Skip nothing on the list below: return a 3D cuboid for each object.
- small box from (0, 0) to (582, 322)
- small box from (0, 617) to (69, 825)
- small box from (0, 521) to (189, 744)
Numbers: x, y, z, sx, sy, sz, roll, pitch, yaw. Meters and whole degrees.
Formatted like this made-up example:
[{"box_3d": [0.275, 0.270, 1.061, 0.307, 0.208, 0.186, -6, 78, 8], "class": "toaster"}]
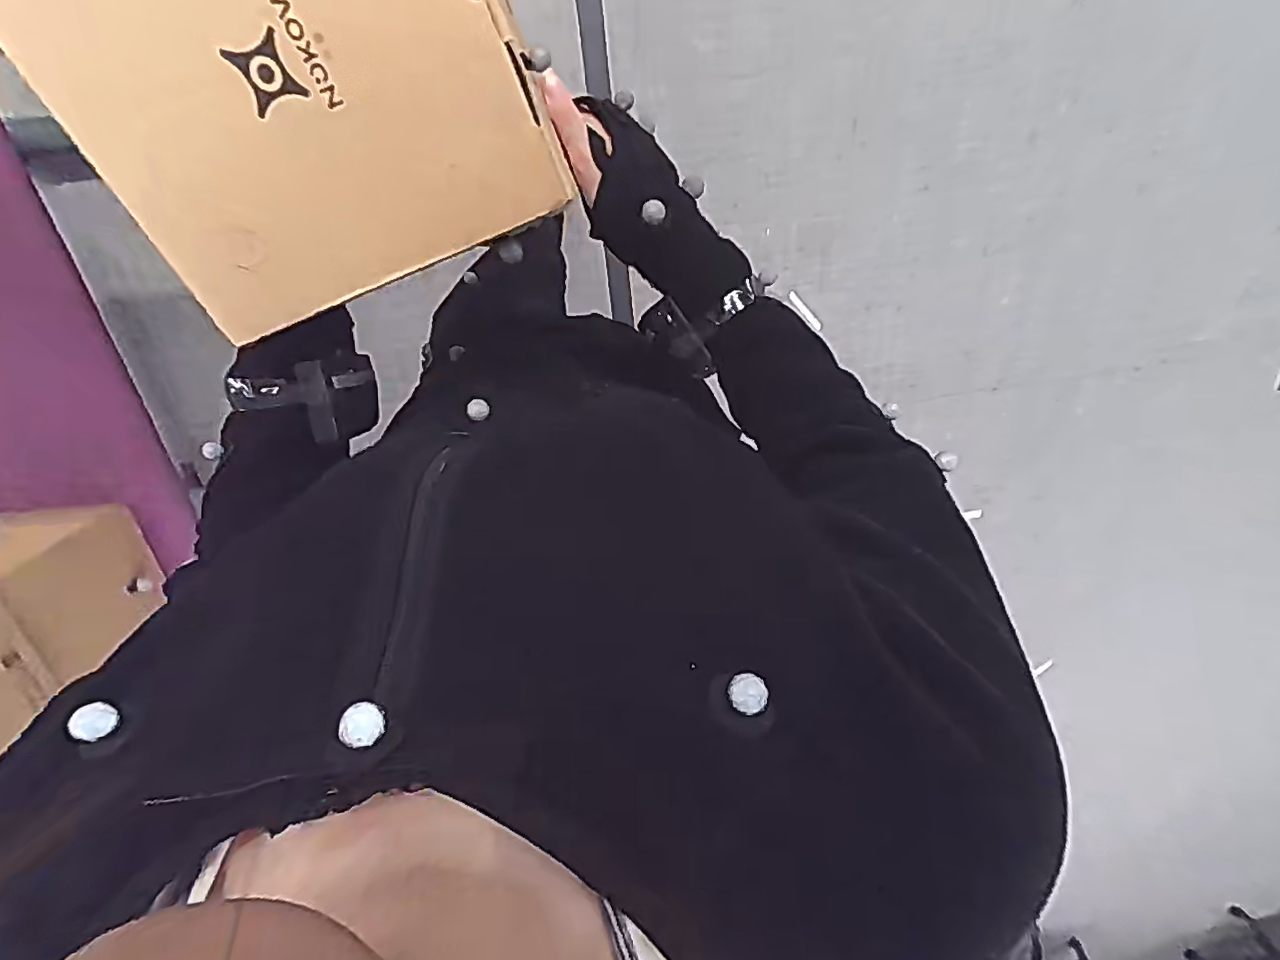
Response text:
[{"box_3d": [-0.137, -0.203, 0.272, 0.179, 0.176, 0.168, -21, 119, 6], "class": "small box"}, {"box_3d": [-0.611, 0.217, 0.411, 0.179, 0.176, 0.168, -6, 115, -3], "class": "small box"}, {"box_3d": [-0.634, 0.154, 0.562, 0.168, 0.176, 0.179, -6, 114, -4], "class": "small box"}]
